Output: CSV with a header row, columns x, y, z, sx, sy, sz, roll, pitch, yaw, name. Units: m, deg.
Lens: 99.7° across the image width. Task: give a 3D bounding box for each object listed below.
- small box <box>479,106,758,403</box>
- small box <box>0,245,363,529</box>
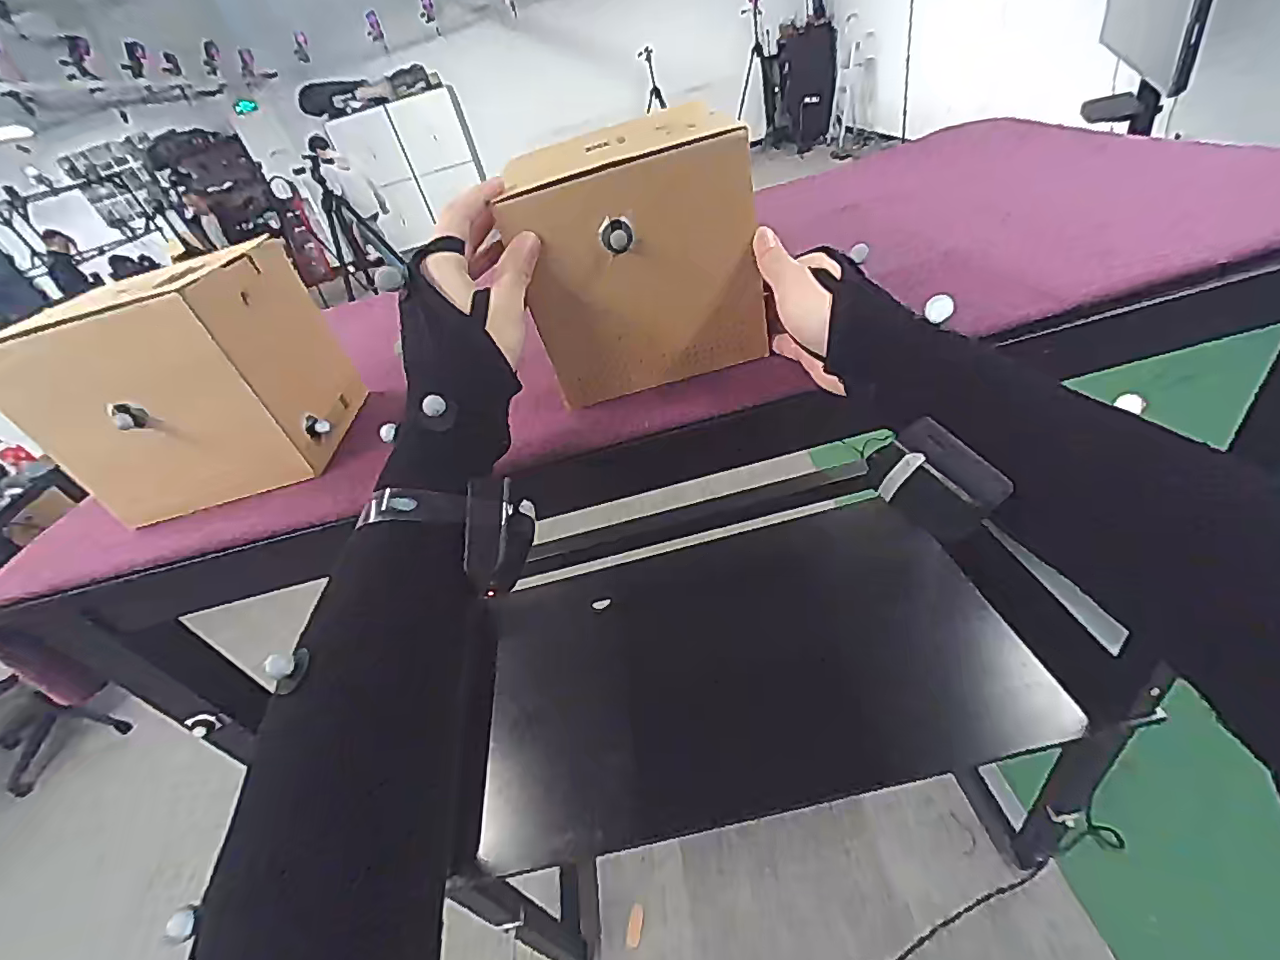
x,y,z,sx,sy,sz,roll,pitch,yaw,name
-0.012,-0.188,0.461,0.179,0.176,0.168,-15,40,5,small box
-0.389,-0.084,0.488,0.179,0.176,0.168,-17,37,3,small box
